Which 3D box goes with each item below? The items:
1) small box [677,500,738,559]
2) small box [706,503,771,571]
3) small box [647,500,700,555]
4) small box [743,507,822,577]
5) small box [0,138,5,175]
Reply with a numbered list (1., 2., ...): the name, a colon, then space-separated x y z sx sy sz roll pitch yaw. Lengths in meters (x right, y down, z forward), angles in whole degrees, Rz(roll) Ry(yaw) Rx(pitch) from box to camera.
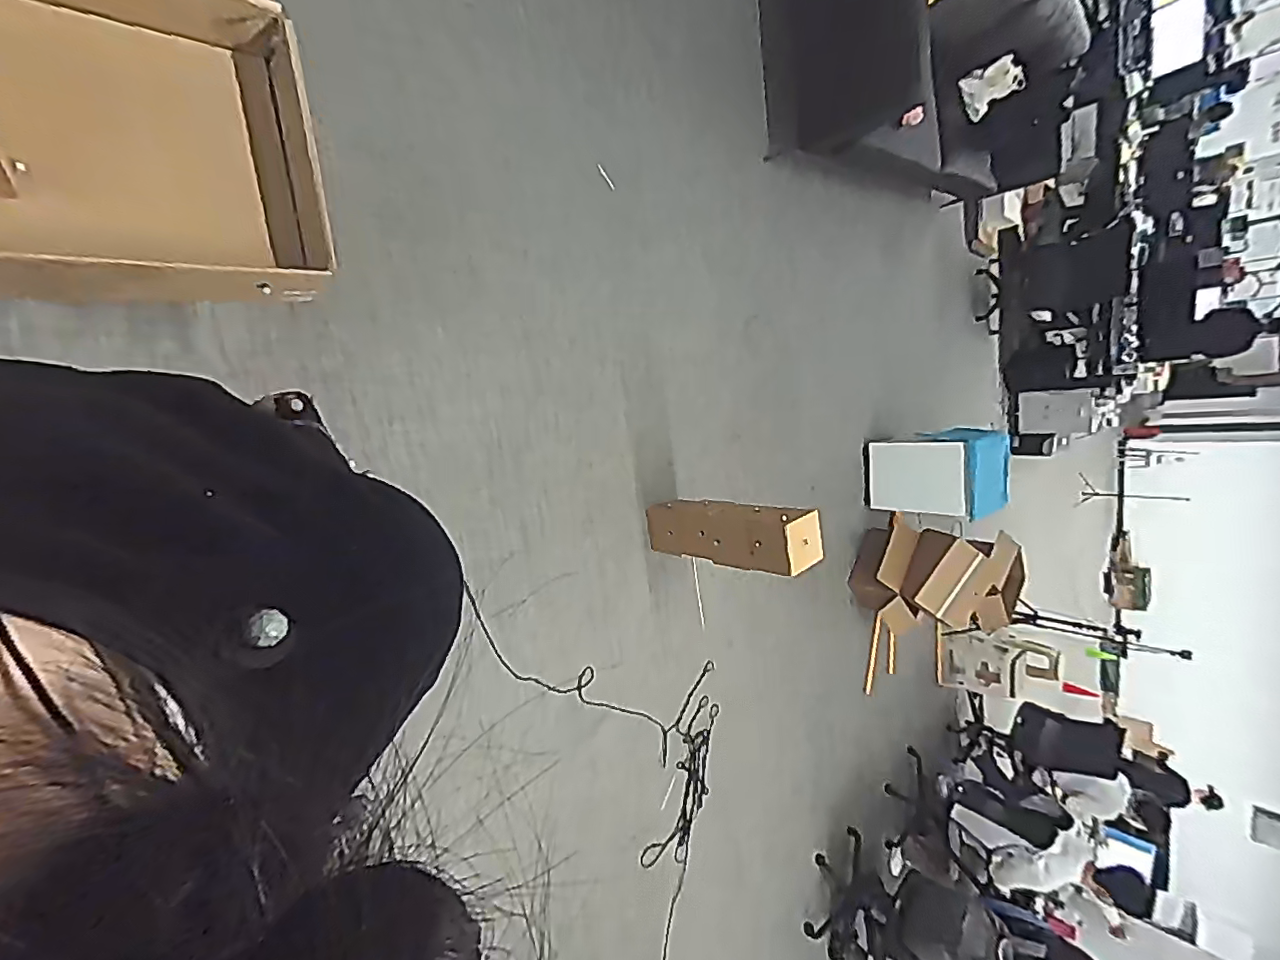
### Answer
1. small box: 0.250 0.174 1.971 0.168 0.176 0.179 -16 102 -39
2. small box: 0.346 0.188 1.840 0.168 0.176 0.179 -18 105 -39
3. small box: 0.143 0.178 2.096 0.168 0.176 0.179 -16 103 -39
4. small box: 0.451 0.189 1.713 0.179 0.176 0.168 -18 103 -38
5. small box: -0.862 -0.456 0.603 0.179 0.176 0.168 -12 101 -41
